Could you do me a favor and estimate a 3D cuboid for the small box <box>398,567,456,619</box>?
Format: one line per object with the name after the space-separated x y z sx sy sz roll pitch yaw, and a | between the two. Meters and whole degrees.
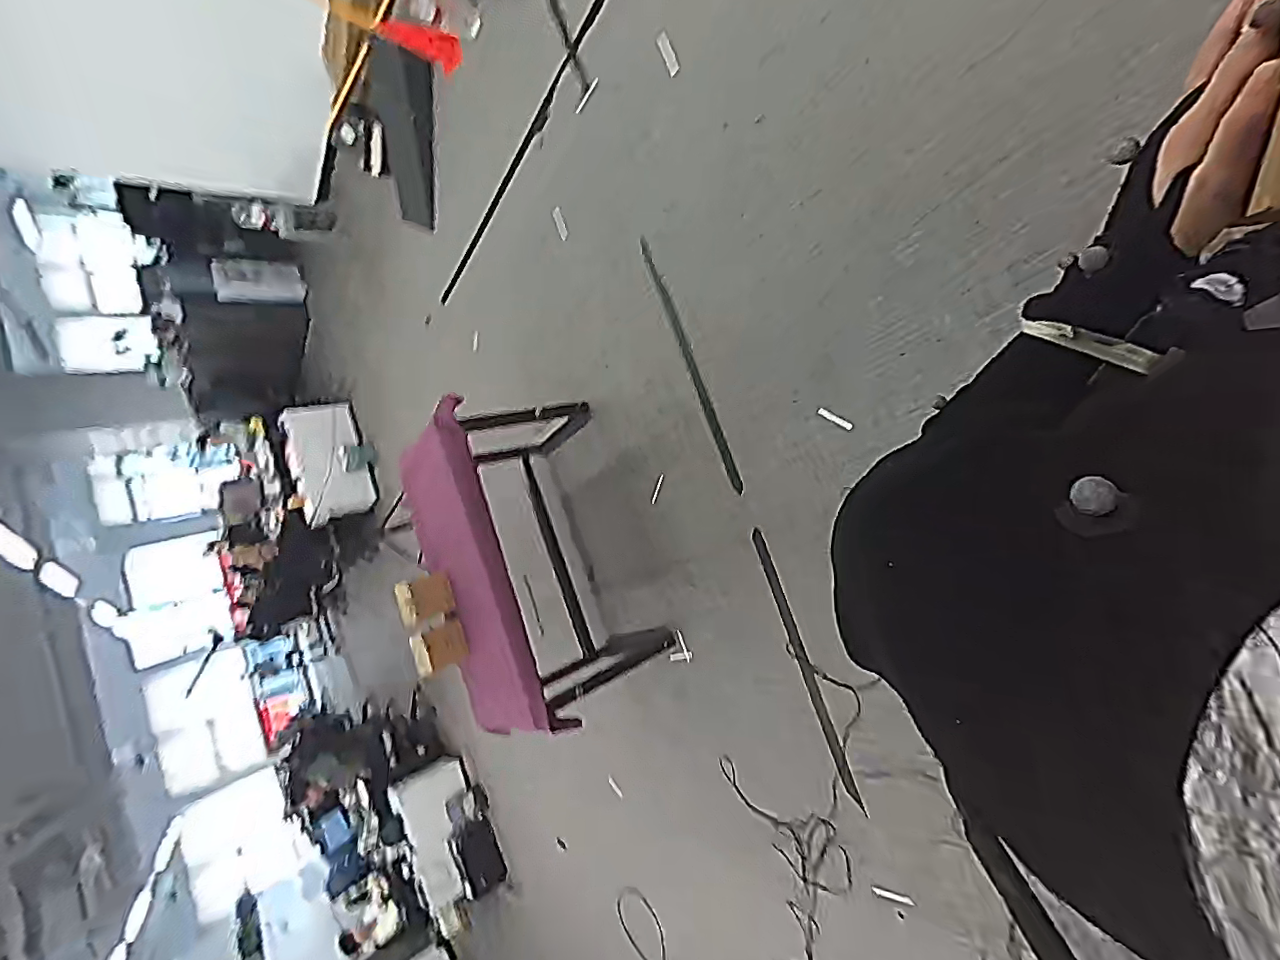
-0.895 0.477 2.286 0.179 0.176 0.168 -21 85 49 | small box

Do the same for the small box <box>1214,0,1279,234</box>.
0.414 -0.227 0.256 0.168 0.176 0.179 9 112 39 | small box
